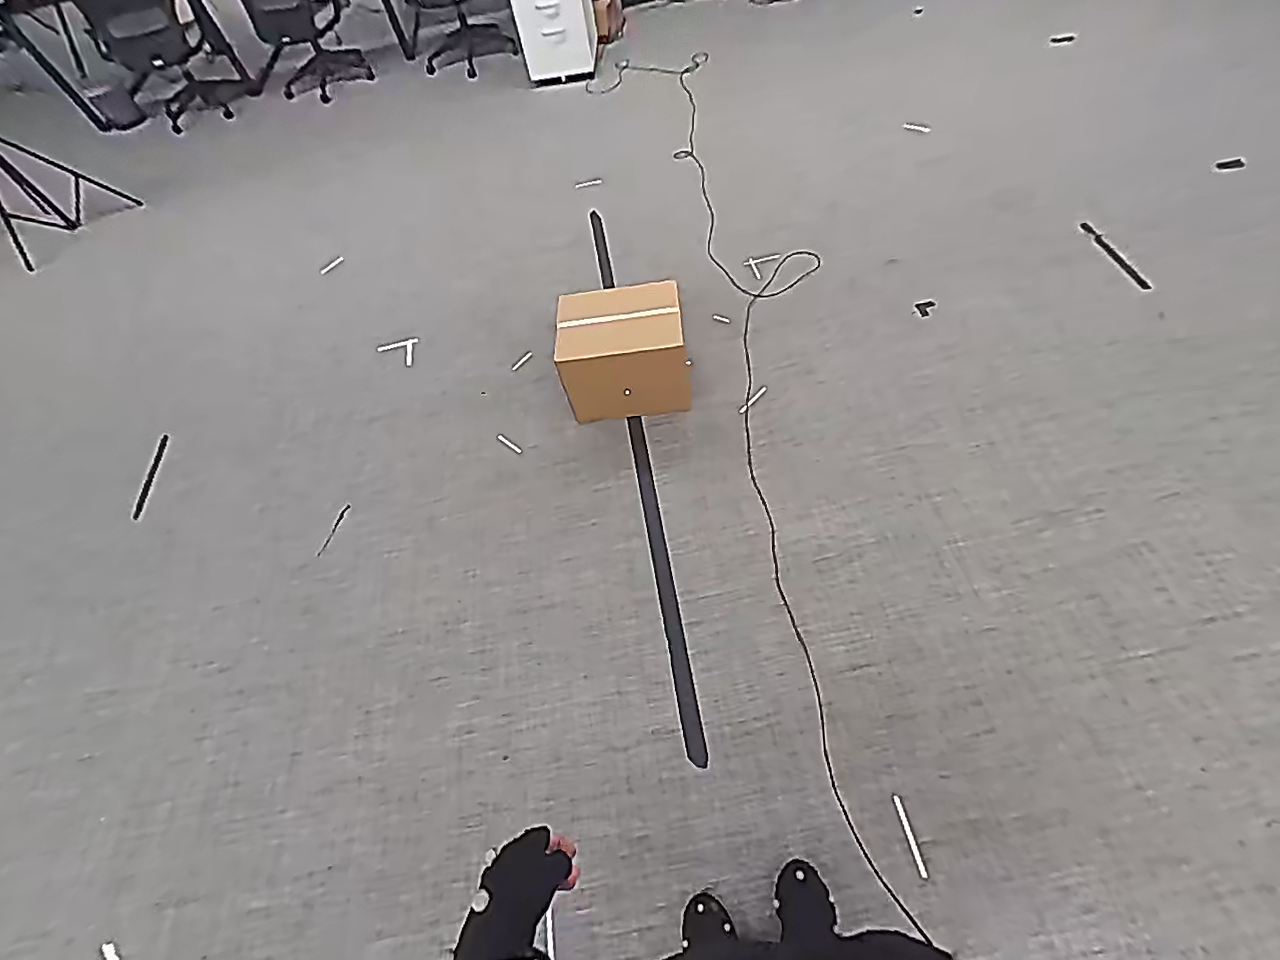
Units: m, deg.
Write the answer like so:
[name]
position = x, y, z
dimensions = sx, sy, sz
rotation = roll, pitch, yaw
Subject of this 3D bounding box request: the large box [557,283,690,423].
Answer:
[large box]
position = -0.049, -0.424, 1.846
dimensions = 0.408, 0.320, 0.320
rotation = -6, 58, 5
